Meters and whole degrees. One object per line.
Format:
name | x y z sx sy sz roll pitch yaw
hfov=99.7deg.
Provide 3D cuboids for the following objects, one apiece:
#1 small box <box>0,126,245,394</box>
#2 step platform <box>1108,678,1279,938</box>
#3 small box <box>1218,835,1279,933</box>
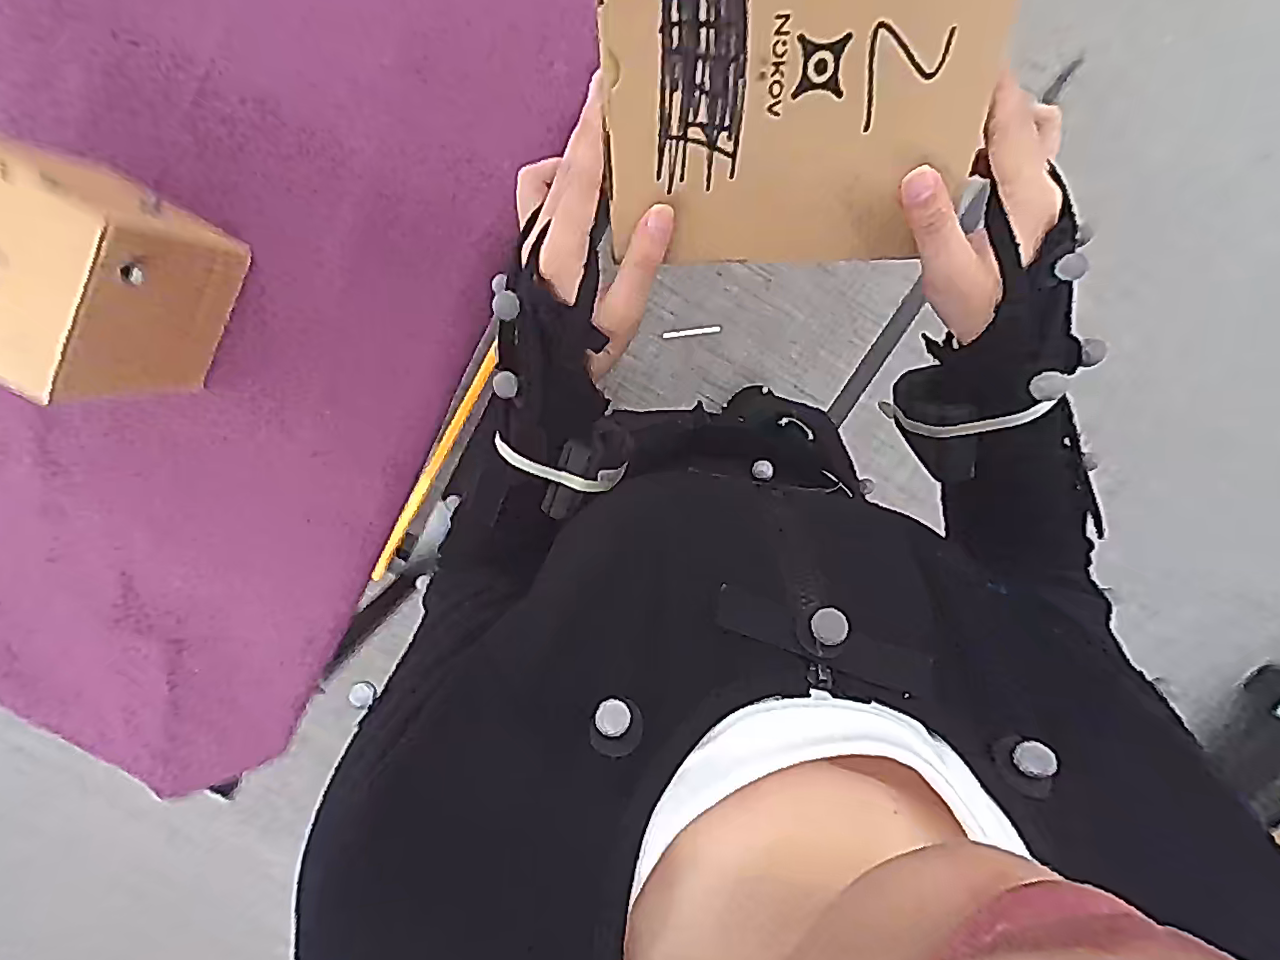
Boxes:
small box | -0.533 -0.202 0.519 0.168 0.176 0.179 30 101 -6
step platform | 1.662 0.892 1.465 0.286 0.204 0.684 30 101 -6
small box | 1.603 1.018 1.317 0.179 0.176 0.168 33 101 -5
